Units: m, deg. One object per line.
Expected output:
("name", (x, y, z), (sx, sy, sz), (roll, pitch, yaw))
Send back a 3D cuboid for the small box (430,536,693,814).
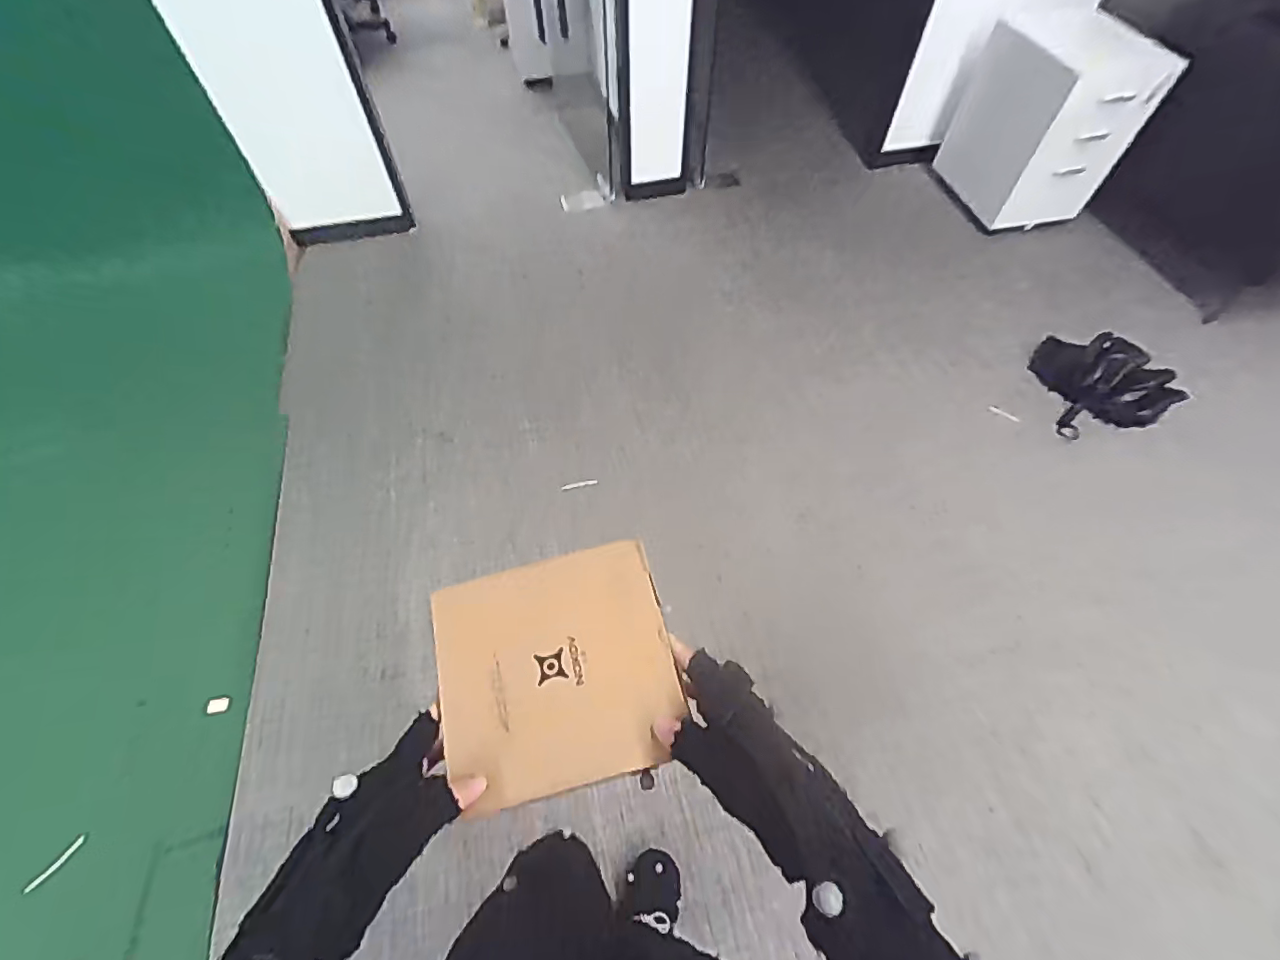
("small box", (-0.063, 0.173, 0.481), (0.179, 0.176, 0.168), (-16, 63, -4))
